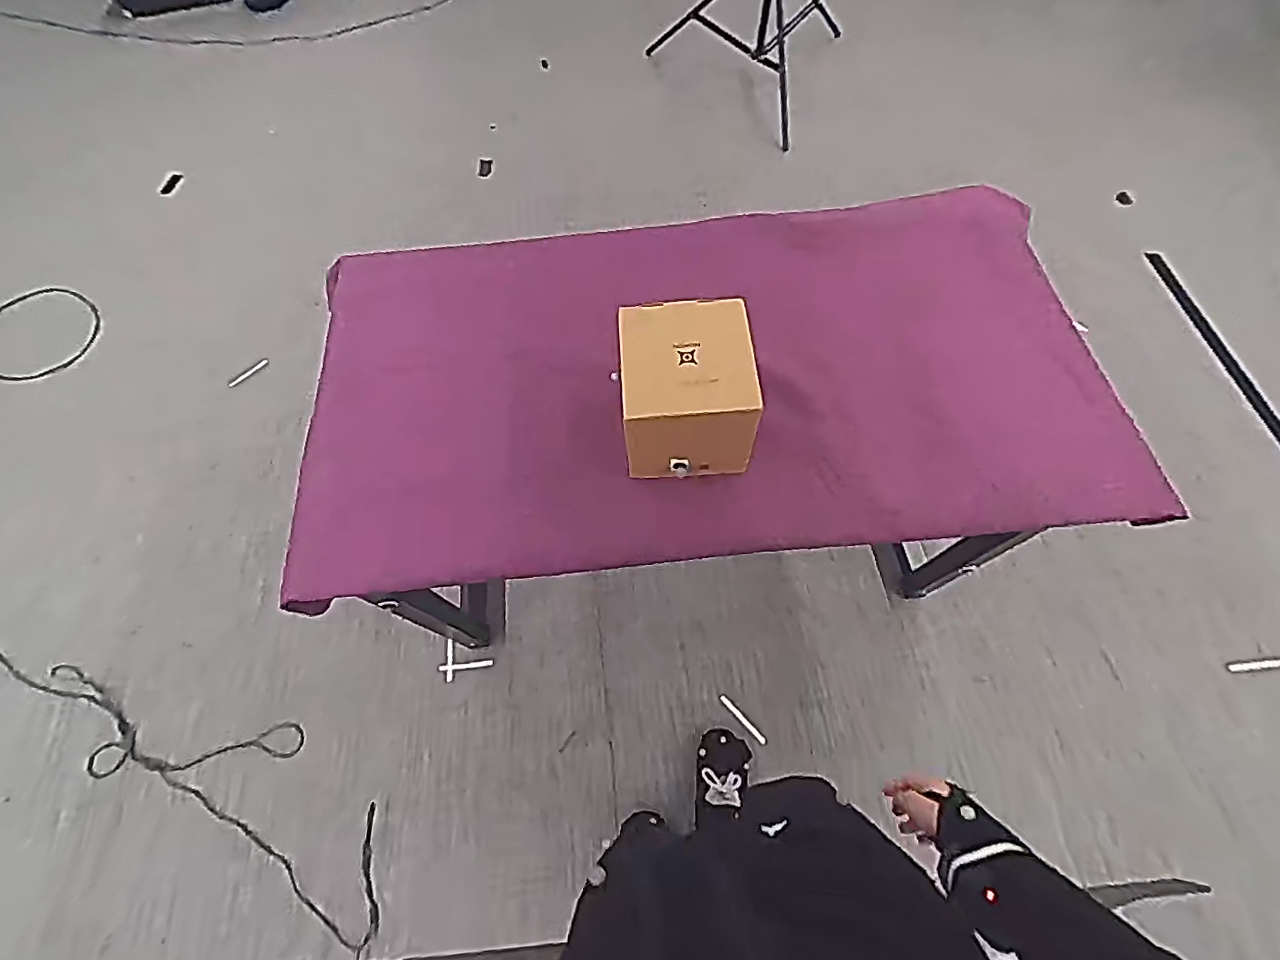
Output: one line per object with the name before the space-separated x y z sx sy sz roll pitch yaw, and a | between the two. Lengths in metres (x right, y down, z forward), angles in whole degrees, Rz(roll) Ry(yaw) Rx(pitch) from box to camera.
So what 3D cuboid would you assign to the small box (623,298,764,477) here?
small box | 0.063 -0.120 0.740 0.168 0.176 0.179 -4 64 1
